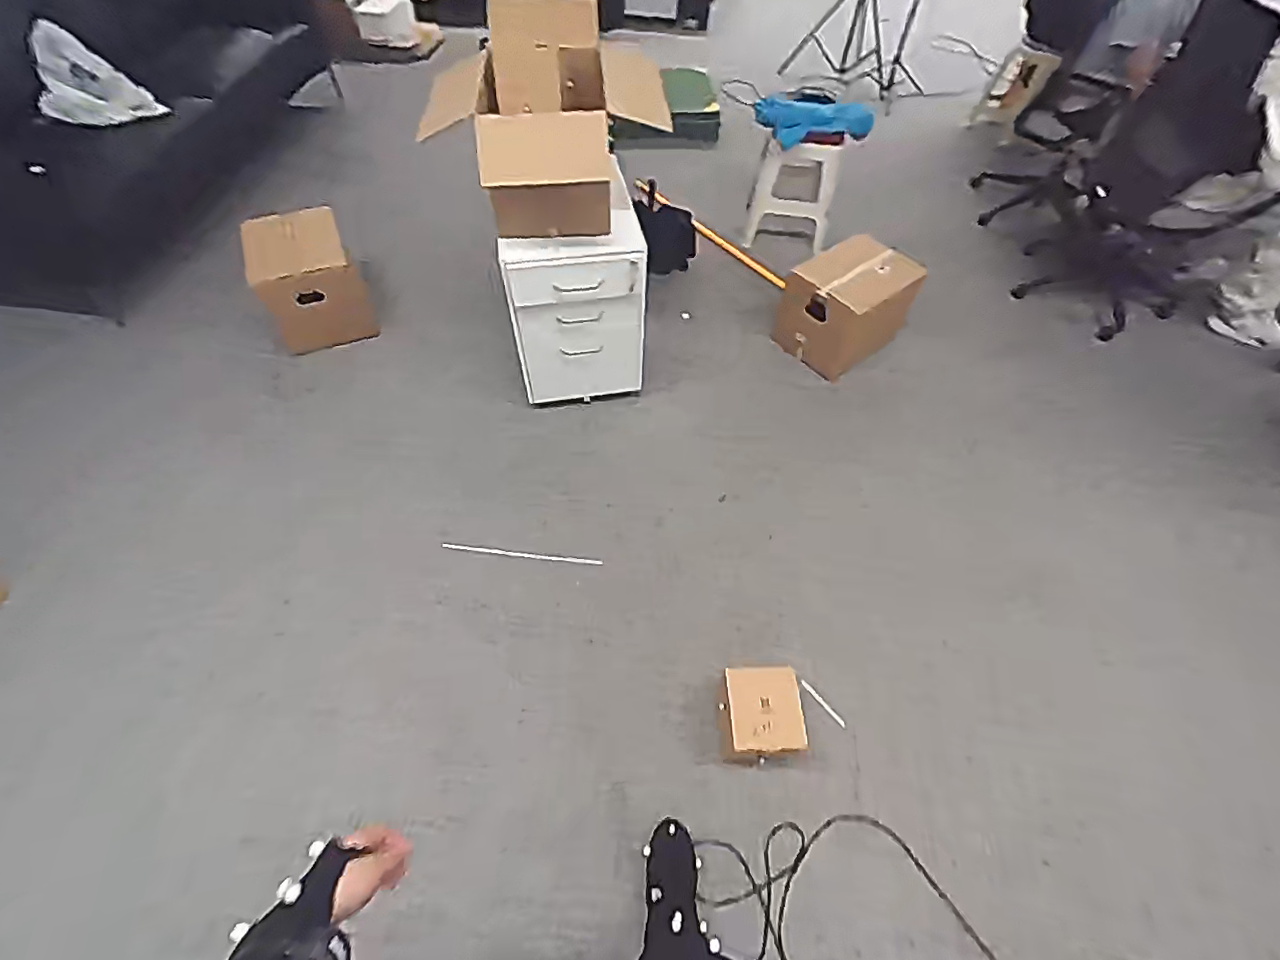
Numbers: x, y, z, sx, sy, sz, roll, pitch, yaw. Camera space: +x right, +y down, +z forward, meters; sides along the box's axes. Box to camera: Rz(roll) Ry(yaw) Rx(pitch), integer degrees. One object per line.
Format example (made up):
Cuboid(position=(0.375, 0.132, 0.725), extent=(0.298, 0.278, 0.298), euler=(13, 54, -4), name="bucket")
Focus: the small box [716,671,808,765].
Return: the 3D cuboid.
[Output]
Cuboid(position=(0.278, 0.563, 1.274), extent=(0.168, 0.176, 0.179), euler=(0, 56, -2), name="small box")
